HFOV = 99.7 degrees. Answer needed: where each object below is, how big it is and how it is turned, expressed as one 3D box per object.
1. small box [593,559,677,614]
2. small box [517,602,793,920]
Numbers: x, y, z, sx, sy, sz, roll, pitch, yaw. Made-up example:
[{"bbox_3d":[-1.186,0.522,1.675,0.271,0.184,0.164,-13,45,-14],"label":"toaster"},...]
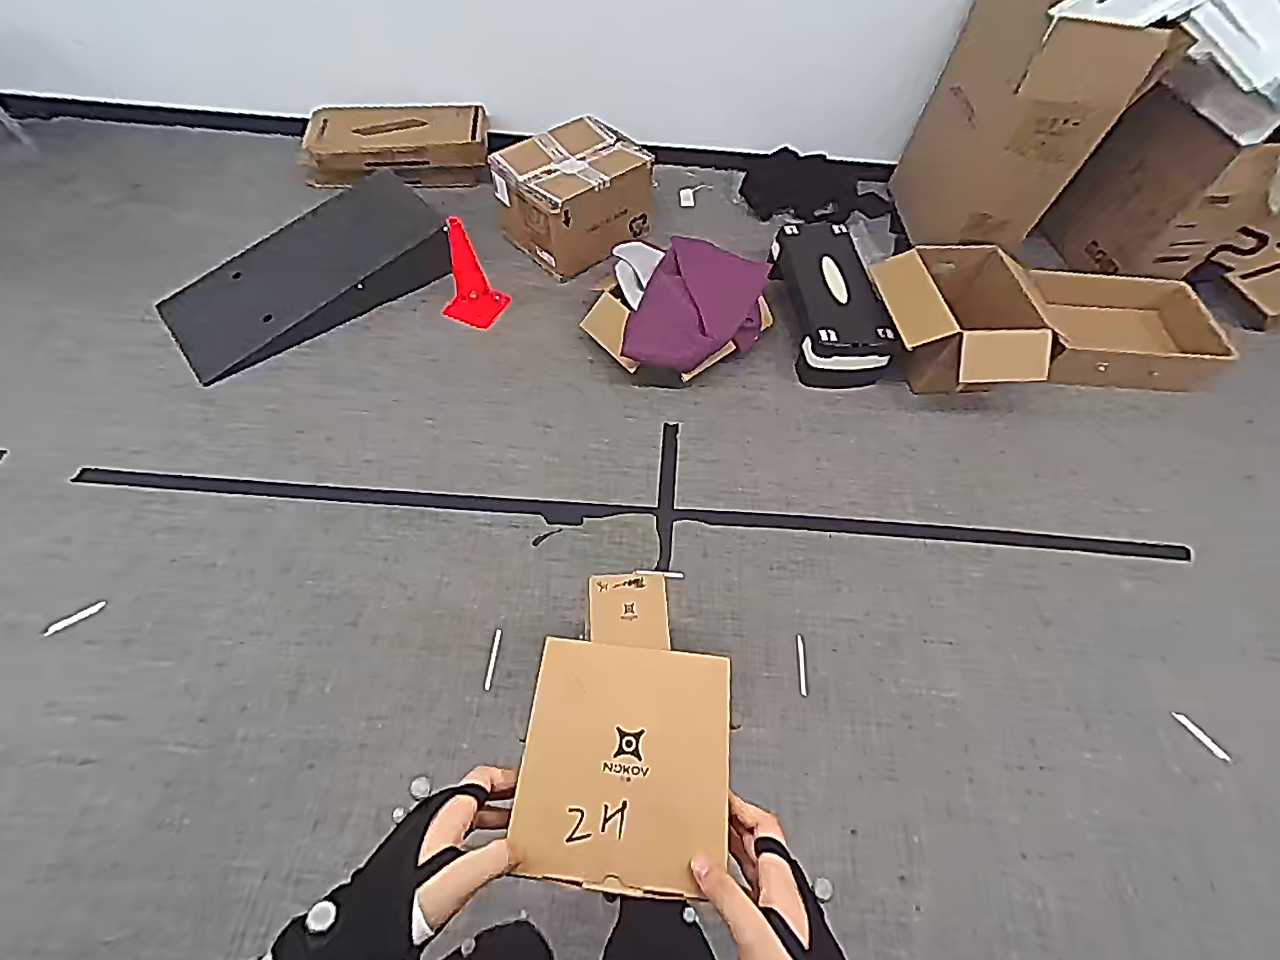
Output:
[{"bbox_3d":[-0.011,0.279,1.124,0.168,0.176,0.179,-2,60,-4],"label":"small box"},{"bbox_3d":[0.013,0.215,0.425,0.168,0.176,0.179,5,58,2],"label":"small box"}]
